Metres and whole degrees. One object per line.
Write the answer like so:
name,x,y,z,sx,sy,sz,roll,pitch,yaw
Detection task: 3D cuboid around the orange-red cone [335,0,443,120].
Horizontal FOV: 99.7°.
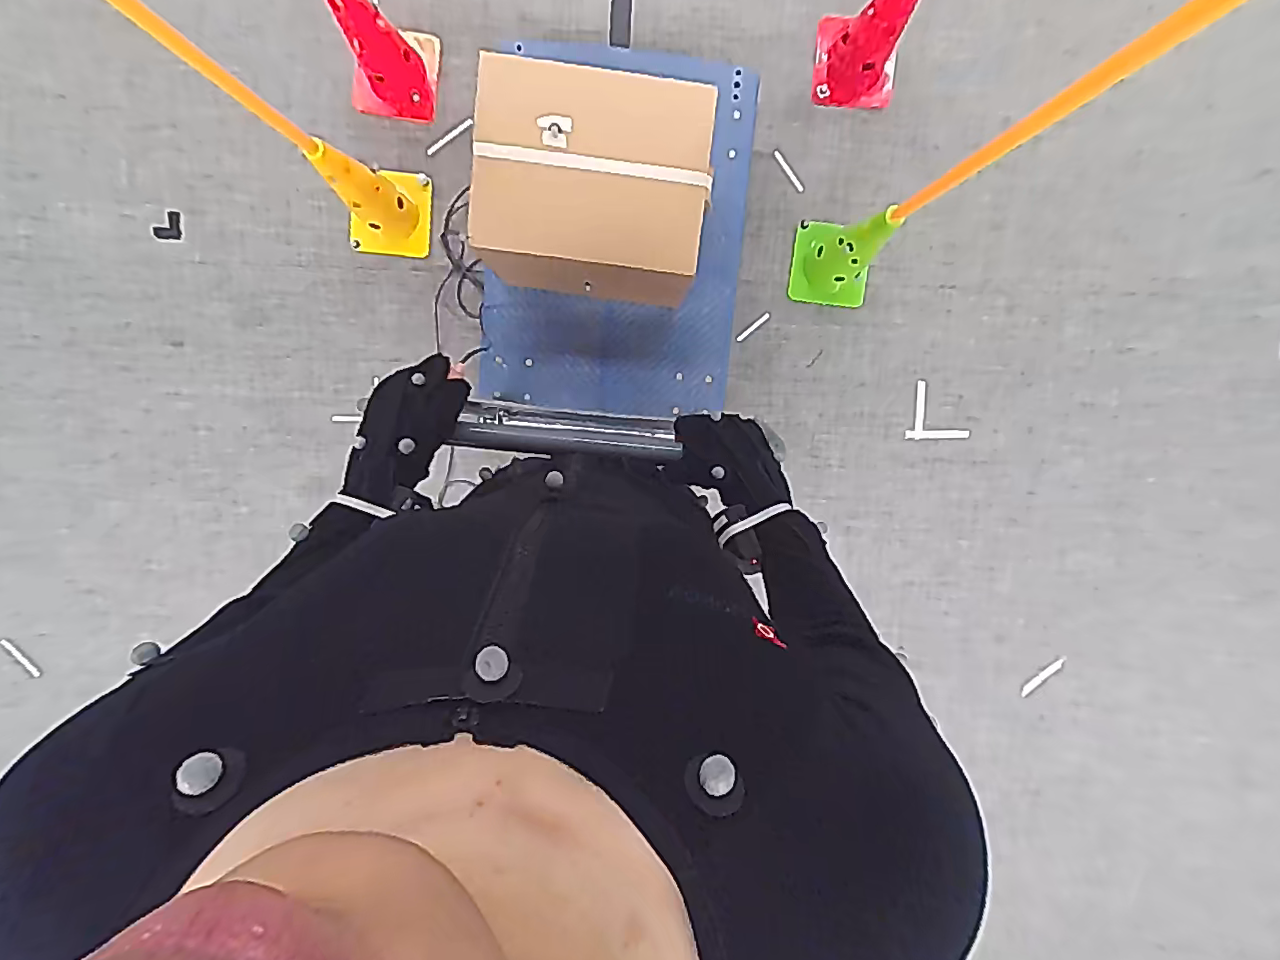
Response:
orange-red cone,-0.589,-0.986,1.162,0.198,0.360,0.199,9,96,-3

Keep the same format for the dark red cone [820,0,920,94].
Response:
dark red cone,0.544,-1.027,1.149,0.201,0.394,0.202,2,98,-3

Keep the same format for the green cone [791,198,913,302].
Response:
green cone,0.504,-0.550,1.230,0.202,0.368,0.200,6,98,-3

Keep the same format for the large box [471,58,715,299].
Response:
large box,-0.084,-0.560,1.078,0.408,0.320,0.320,7,98,-1
